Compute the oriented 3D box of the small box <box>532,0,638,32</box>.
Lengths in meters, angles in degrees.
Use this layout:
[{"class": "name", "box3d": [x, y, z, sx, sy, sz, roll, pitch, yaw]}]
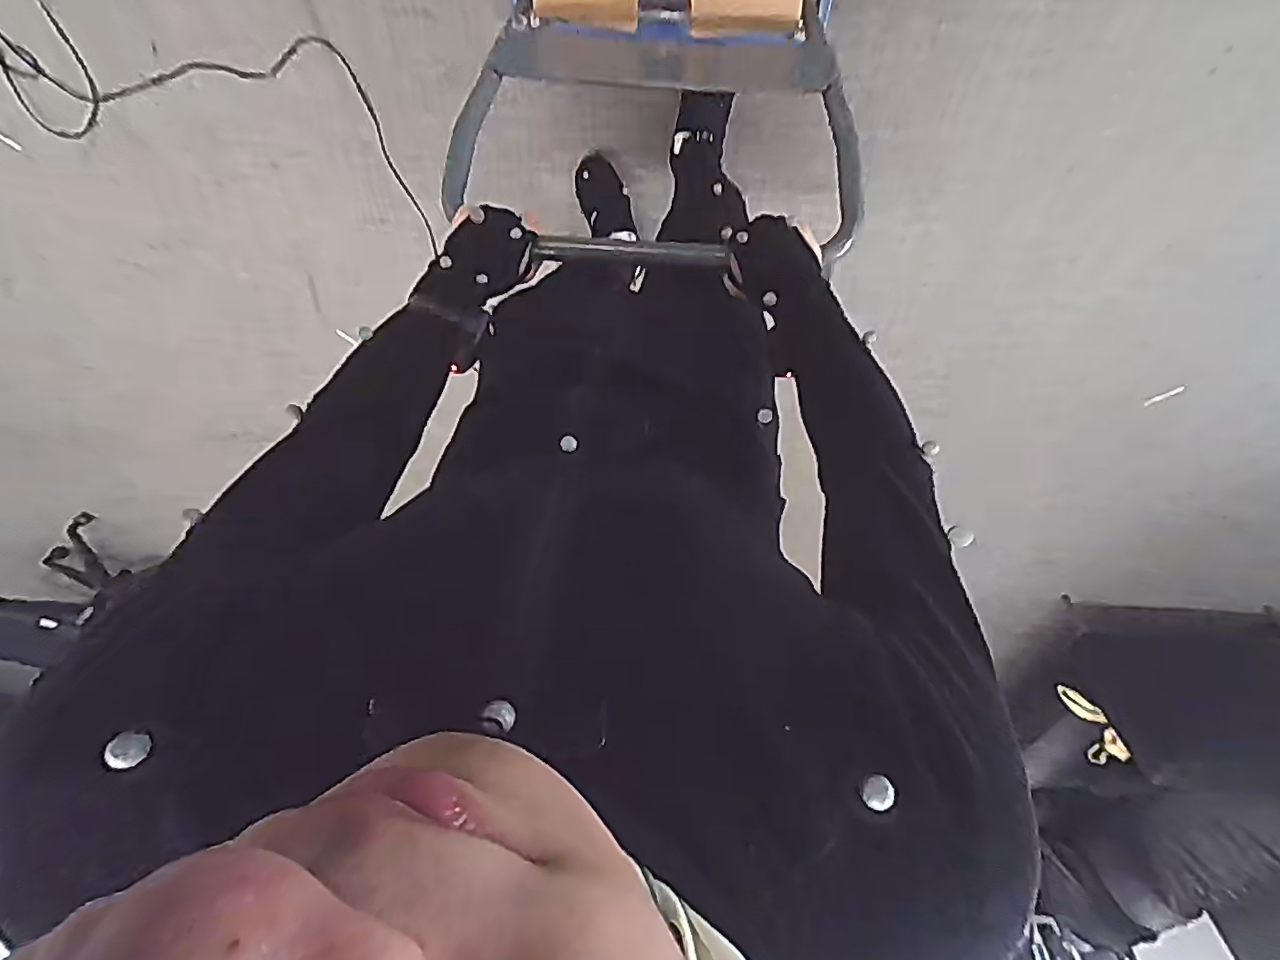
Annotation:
[{"class": "small box", "box3d": [-0.078, -0.843, 0.839, 0.168, 0.176, 0.179, 6, 145, -3]}]
